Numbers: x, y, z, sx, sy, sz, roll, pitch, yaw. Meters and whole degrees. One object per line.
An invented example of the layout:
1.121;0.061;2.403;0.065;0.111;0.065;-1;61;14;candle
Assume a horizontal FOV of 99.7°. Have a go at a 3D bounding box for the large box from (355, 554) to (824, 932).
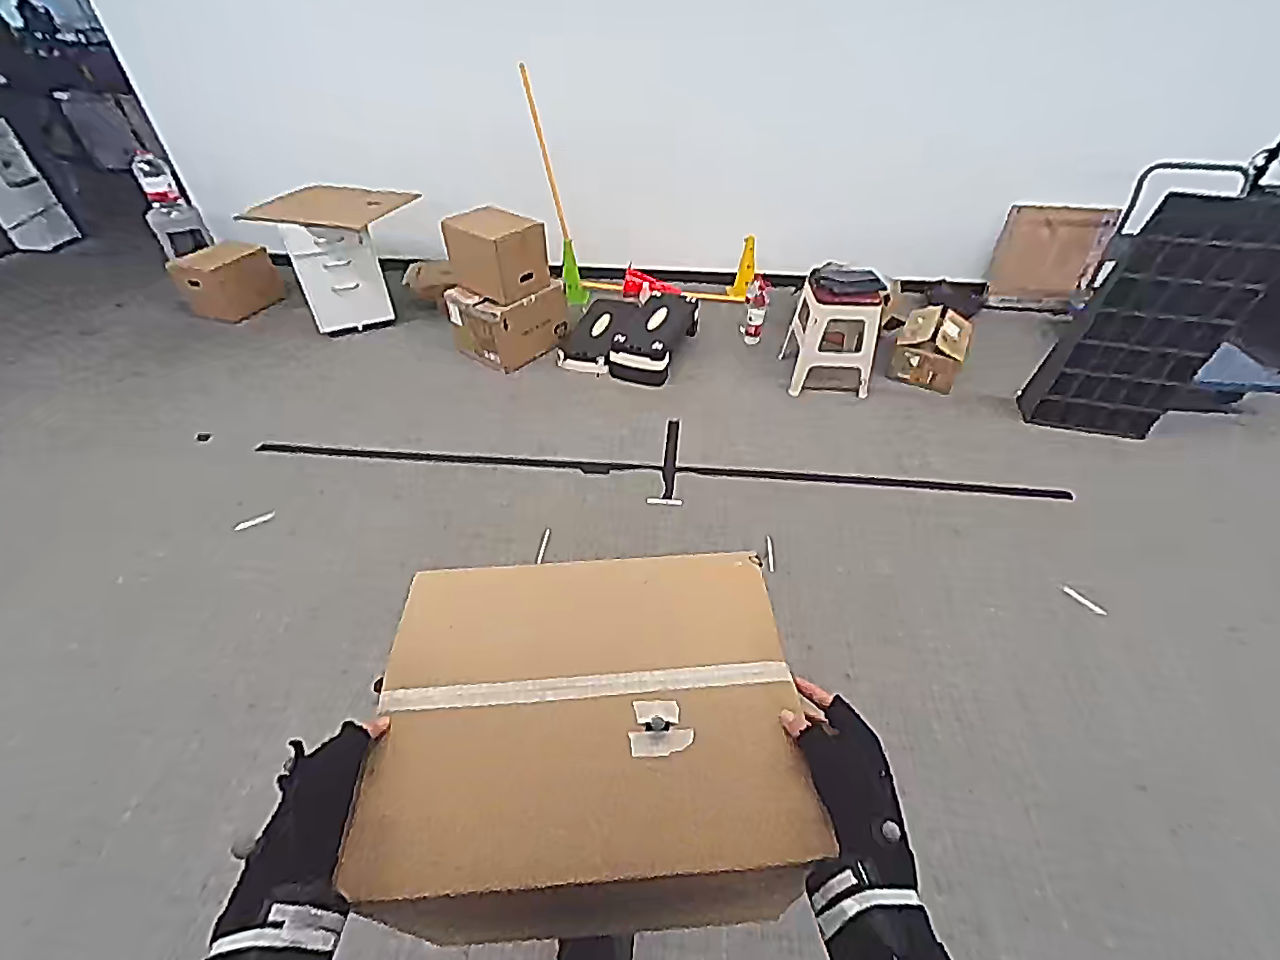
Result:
-0.049;0.316;0.659;0.408;0.320;0.320;-3;45;-2;large box
